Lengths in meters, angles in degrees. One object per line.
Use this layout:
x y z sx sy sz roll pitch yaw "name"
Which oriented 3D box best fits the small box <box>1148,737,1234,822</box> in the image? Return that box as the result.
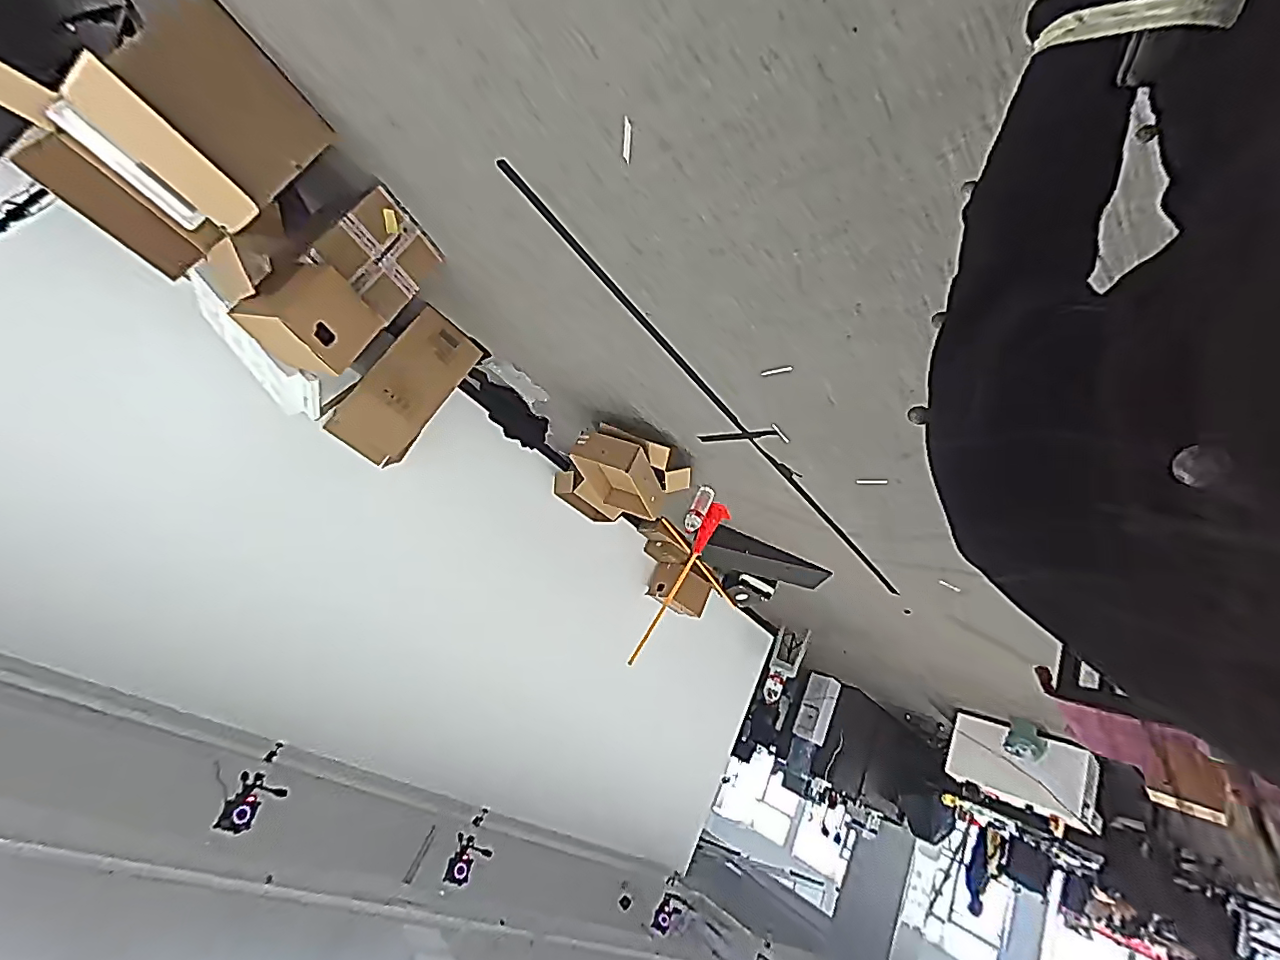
1.731 0.931 1.697 0.179 0.176 0.168 0 147 50 "small box"
